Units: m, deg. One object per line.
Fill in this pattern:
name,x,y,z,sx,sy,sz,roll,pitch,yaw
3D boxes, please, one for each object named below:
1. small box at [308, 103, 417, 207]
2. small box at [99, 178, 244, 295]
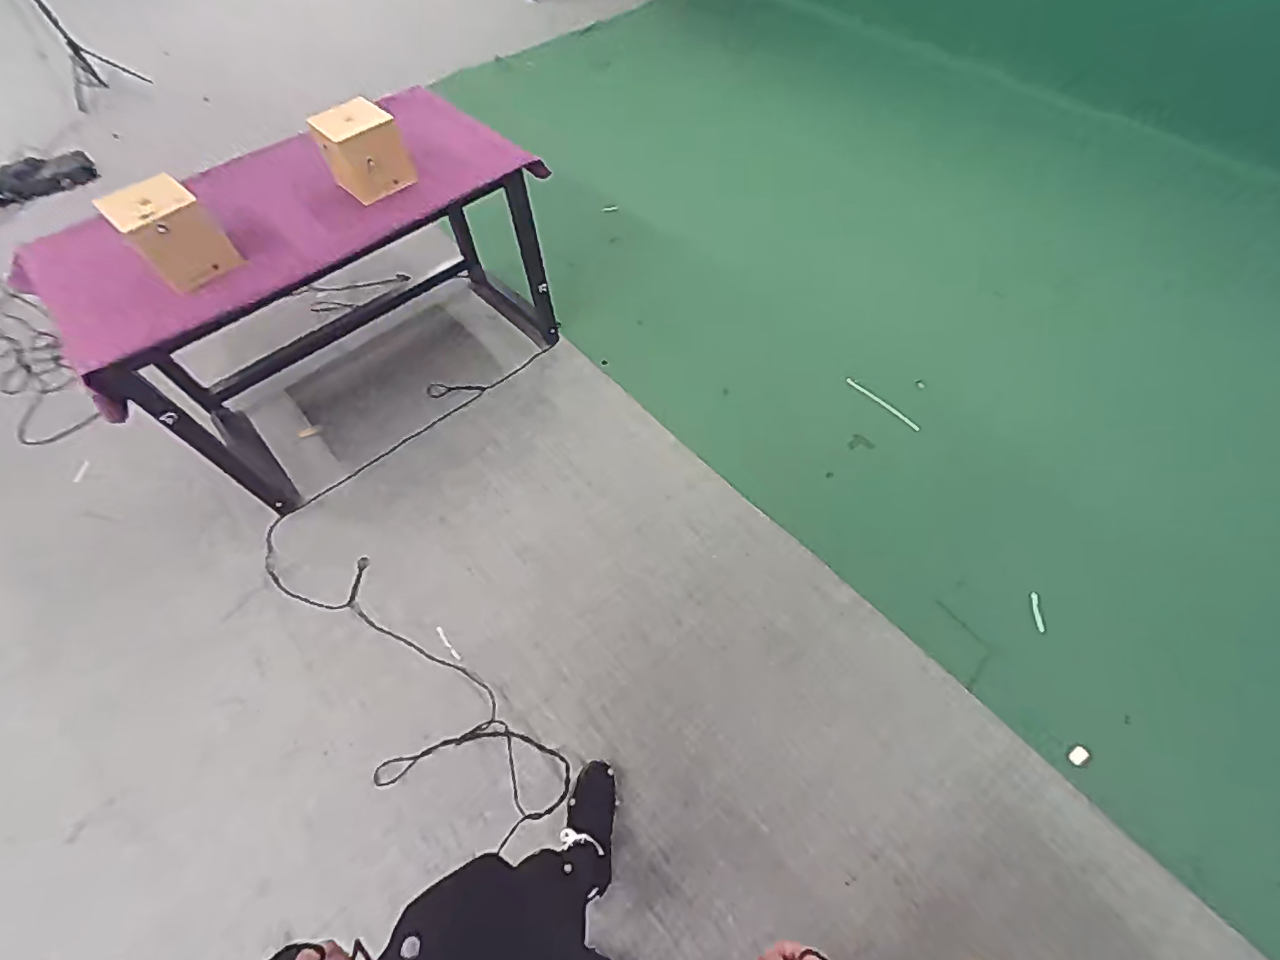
small box,-0.736,-0.866,1.452,0.168,0.176,0.179,-40,64,-19
small box,-1.106,-0.575,1.289,0.179,0.176,0.168,37,67,22
